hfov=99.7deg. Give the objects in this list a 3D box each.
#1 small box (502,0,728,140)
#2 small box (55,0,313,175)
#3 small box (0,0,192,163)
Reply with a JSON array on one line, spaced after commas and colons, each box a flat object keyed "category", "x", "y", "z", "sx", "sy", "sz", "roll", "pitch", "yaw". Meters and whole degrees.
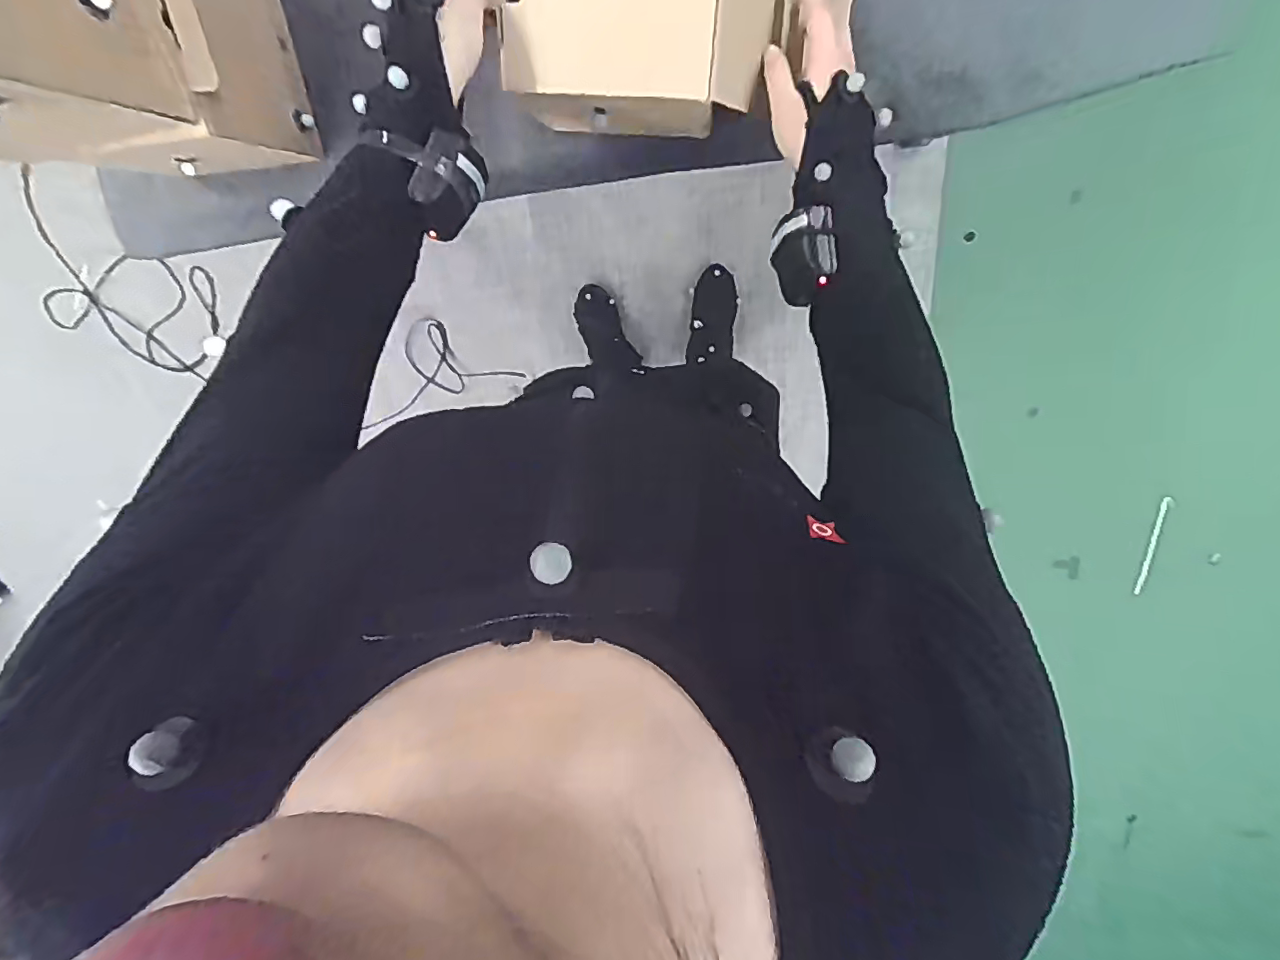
[{"category": "small box", "x": -0.012, "y": -0.412, "z": 0.480, "sx": 0.179, "sy": 0.176, "sz": 0.168, "roll": 5, "pitch": 115, "yaw": 4}, {"category": "small box", "x": -0.458, "y": -0.404, "z": 0.527, "sx": 0.179, "sy": 0.176, "sz": 0.168, "roll": -3, "pitch": 114, "yaw": 7}, {"category": "small box", "x": -0.487, "y": -0.339, "z": 0.381, "sx": 0.179, "sy": 0.176, "sz": 0.168, "roll": -7, "pitch": 113, "yaw": 8}]
